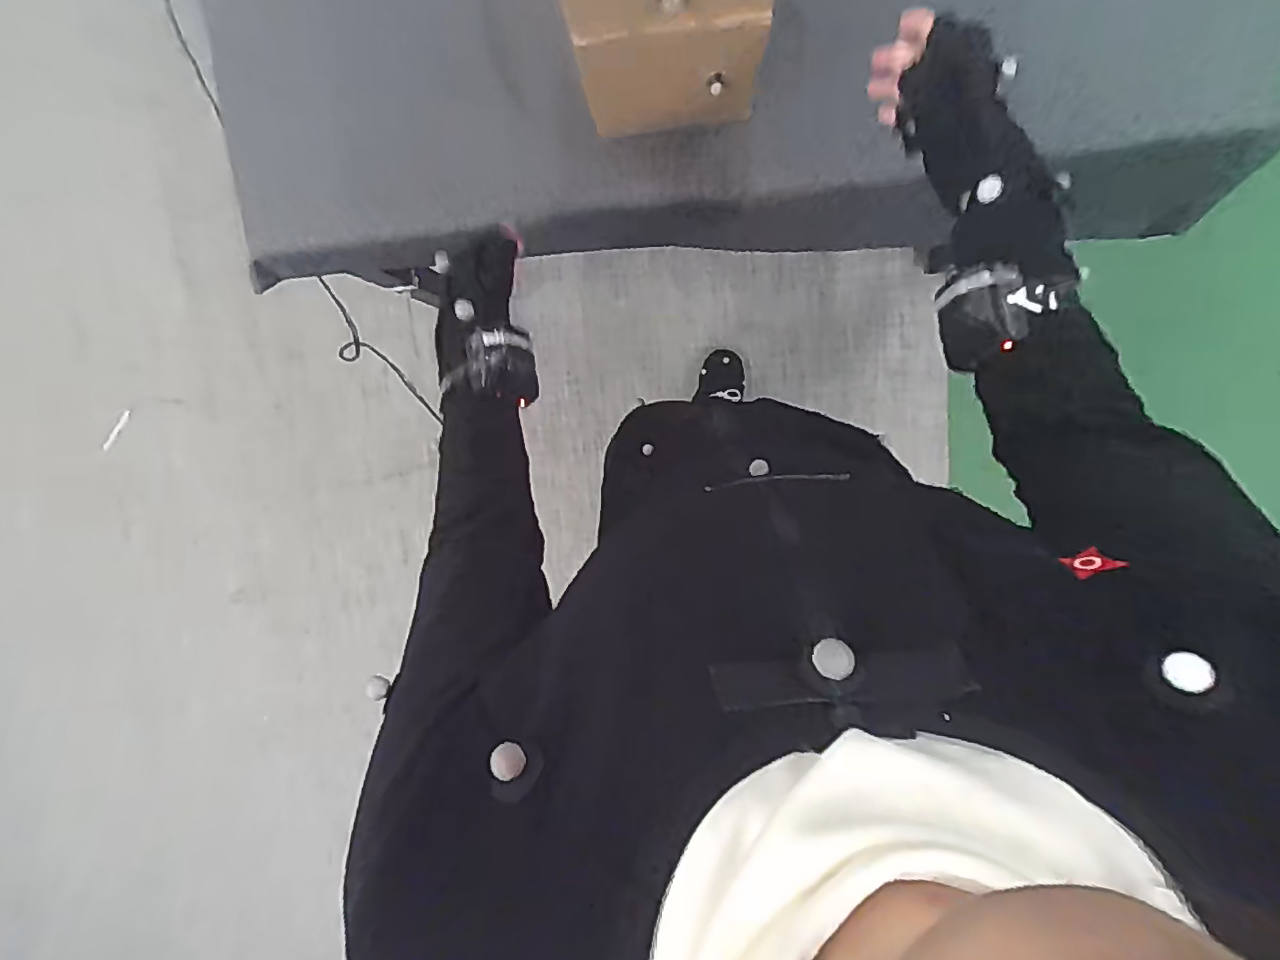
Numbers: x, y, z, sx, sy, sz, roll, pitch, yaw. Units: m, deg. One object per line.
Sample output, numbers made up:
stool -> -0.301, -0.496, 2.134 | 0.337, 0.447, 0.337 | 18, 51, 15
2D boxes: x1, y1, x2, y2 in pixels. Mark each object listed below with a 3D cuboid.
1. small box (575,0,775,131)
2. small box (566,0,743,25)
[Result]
small box -> 0.030, -0.484, 0.540 | 0.179, 0.176, 0.168 | -5, 97, 6
small box -> 0.016, -0.469, 0.377 | 0.179, 0.176, 0.168 | -4, 97, 4
